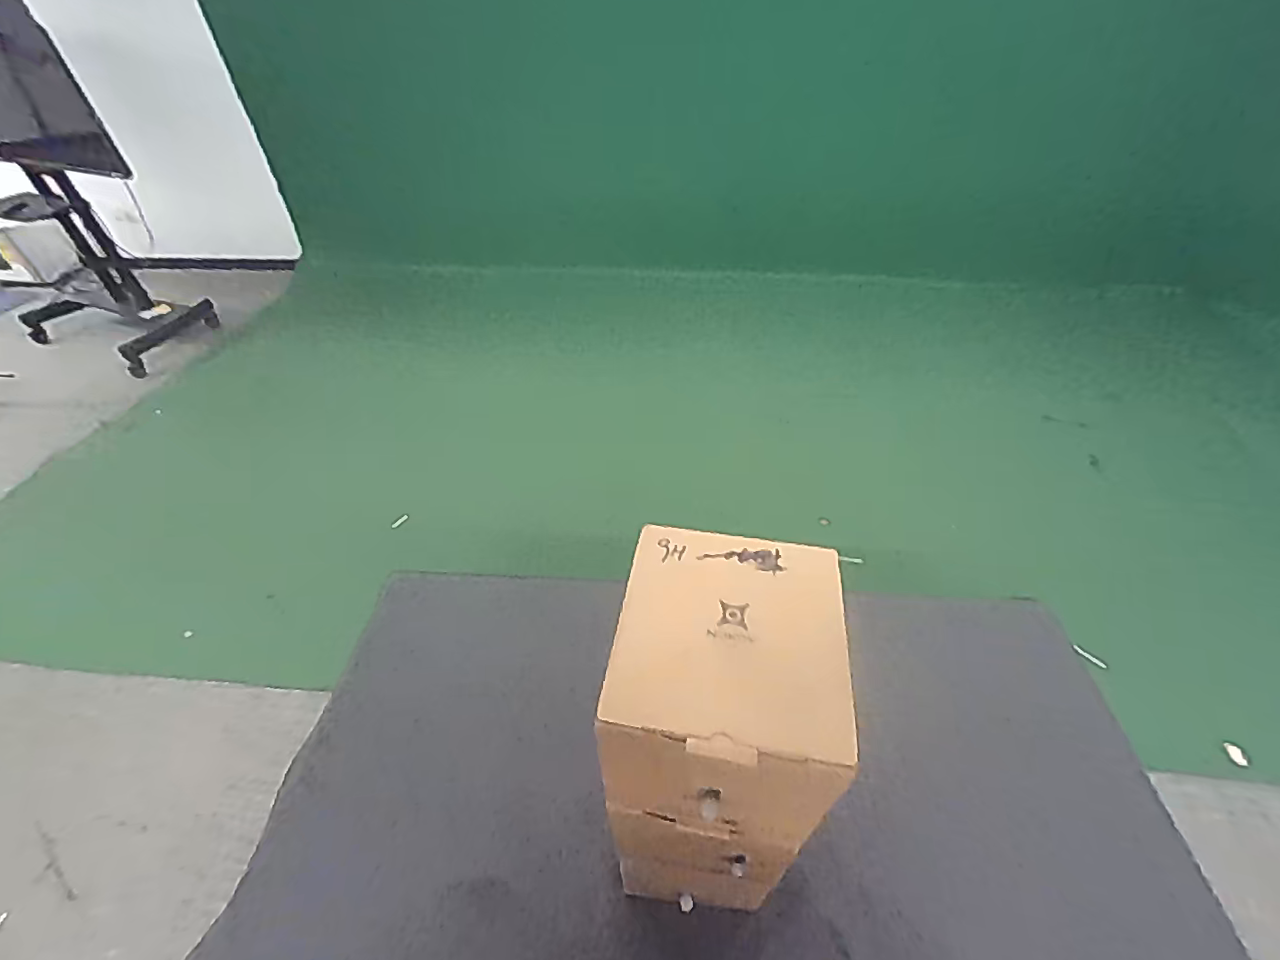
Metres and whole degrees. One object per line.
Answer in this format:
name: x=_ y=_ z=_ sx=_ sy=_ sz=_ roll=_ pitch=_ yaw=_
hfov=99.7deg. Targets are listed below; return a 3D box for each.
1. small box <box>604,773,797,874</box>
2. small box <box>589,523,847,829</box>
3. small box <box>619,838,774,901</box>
small box: x=0.065 y=0.282 z=0.564 sx=0.168 sy=0.176 sz=0.179 roll=6 pitch=43 yaw=7
small box: x=0.065 y=0.163 z=0.451 sx=0.168 sy=0.176 sz=0.179 roll=8 pitch=46 yaw=8
small box: x=0.069 y=0.396 z=0.678 sx=0.168 sy=0.176 sz=0.179 roll=3 pitch=45 yaw=6
